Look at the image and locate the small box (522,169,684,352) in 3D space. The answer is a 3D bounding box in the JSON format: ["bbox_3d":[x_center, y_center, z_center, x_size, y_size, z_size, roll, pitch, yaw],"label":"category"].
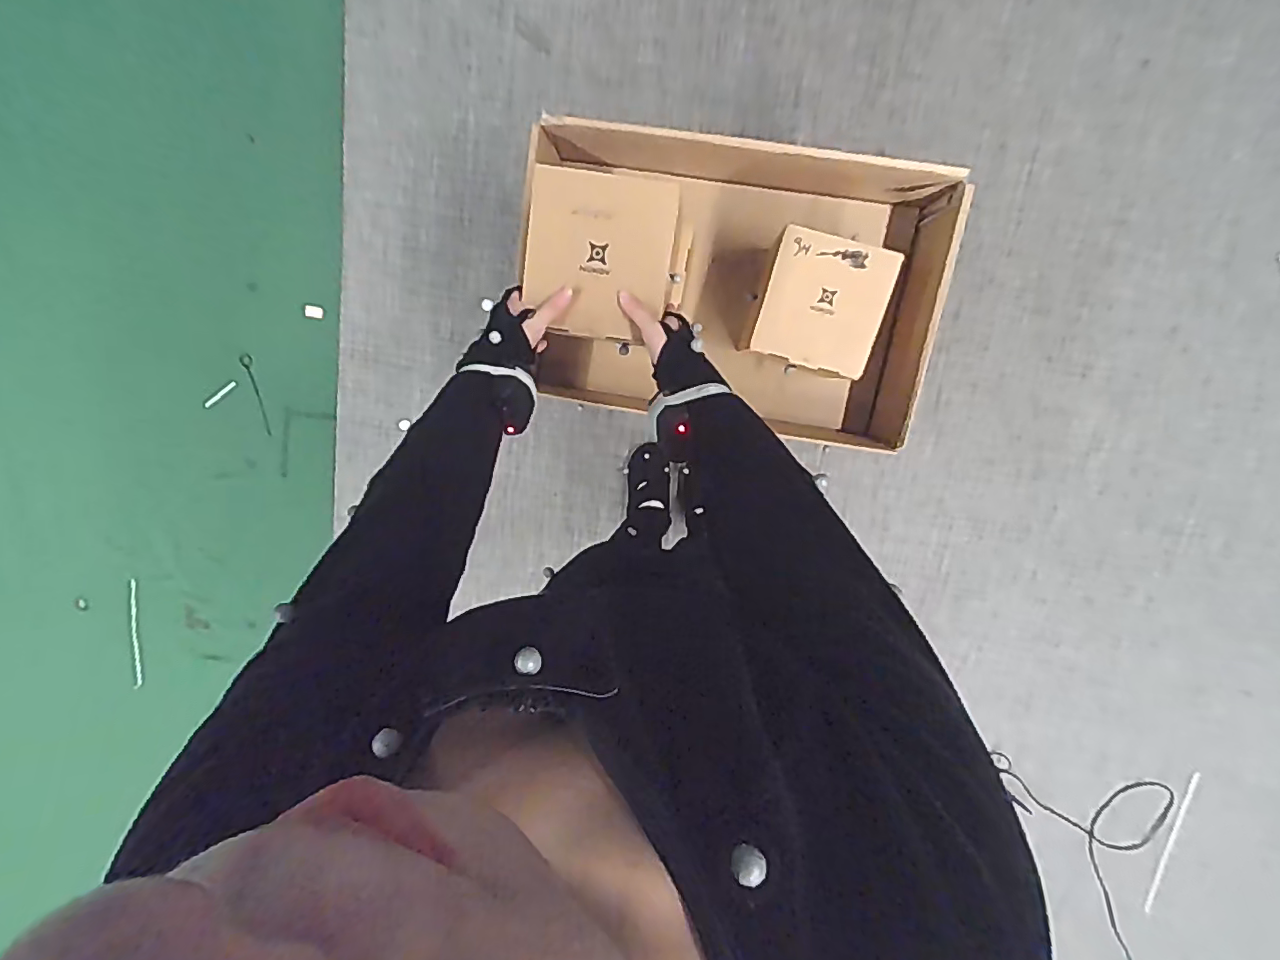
[{"bbox_3d":[-0.038,-0.264,0.691,0.168,0.176,0.179,11,103,4],"label":"small box"}]
